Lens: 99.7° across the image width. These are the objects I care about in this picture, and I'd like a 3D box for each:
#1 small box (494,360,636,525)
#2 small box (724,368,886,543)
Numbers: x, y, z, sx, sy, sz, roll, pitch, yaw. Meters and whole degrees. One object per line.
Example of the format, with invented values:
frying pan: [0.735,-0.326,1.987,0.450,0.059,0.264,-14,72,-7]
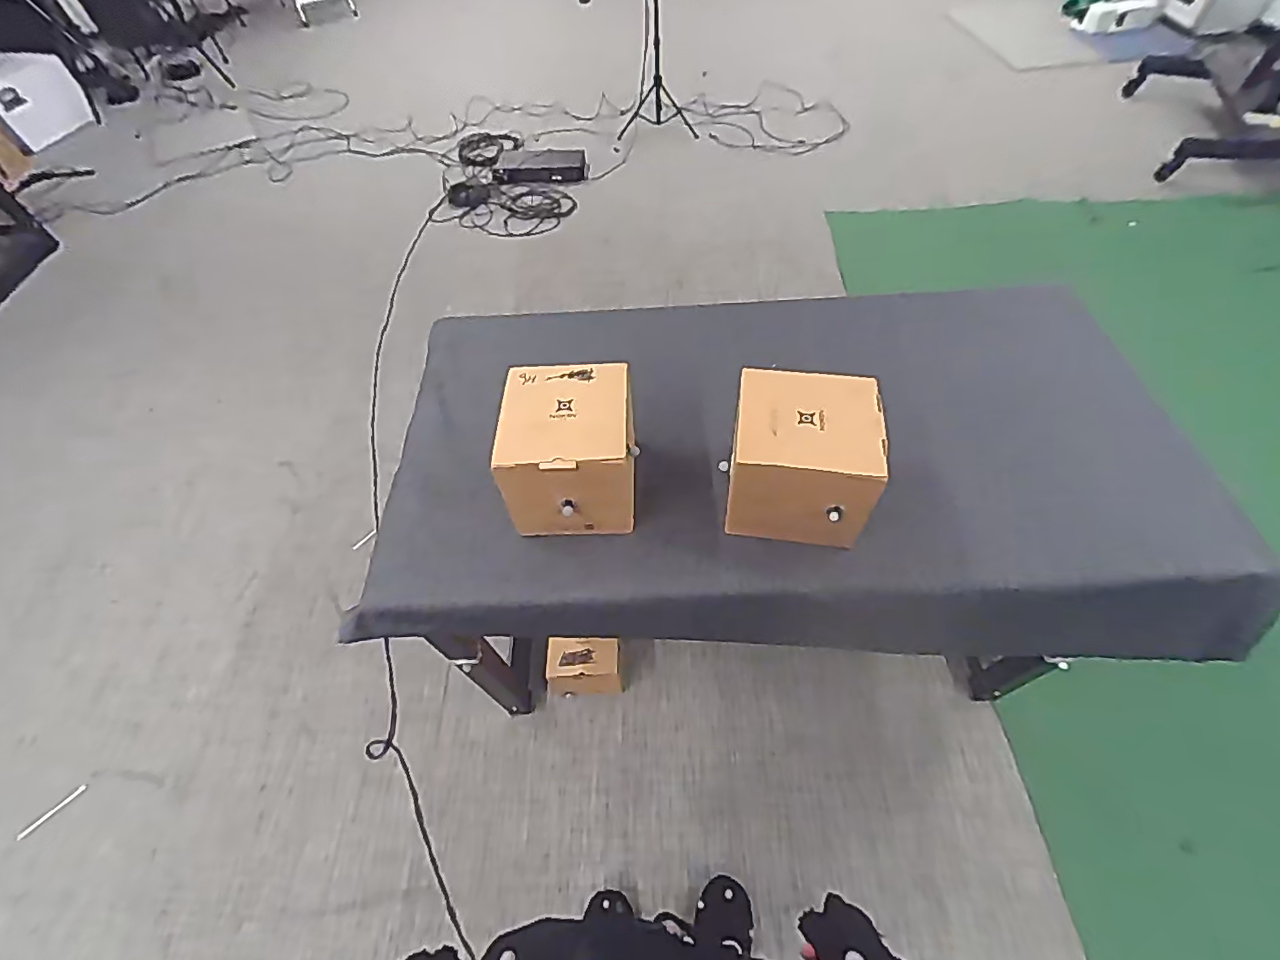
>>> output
small box: [-0.092,-0.047,0.765,0.168,0.176,0.179,-1,55,2]
small box: [0.215,-0.029,0.740,0.179,0.176,0.168,6,55,8]
